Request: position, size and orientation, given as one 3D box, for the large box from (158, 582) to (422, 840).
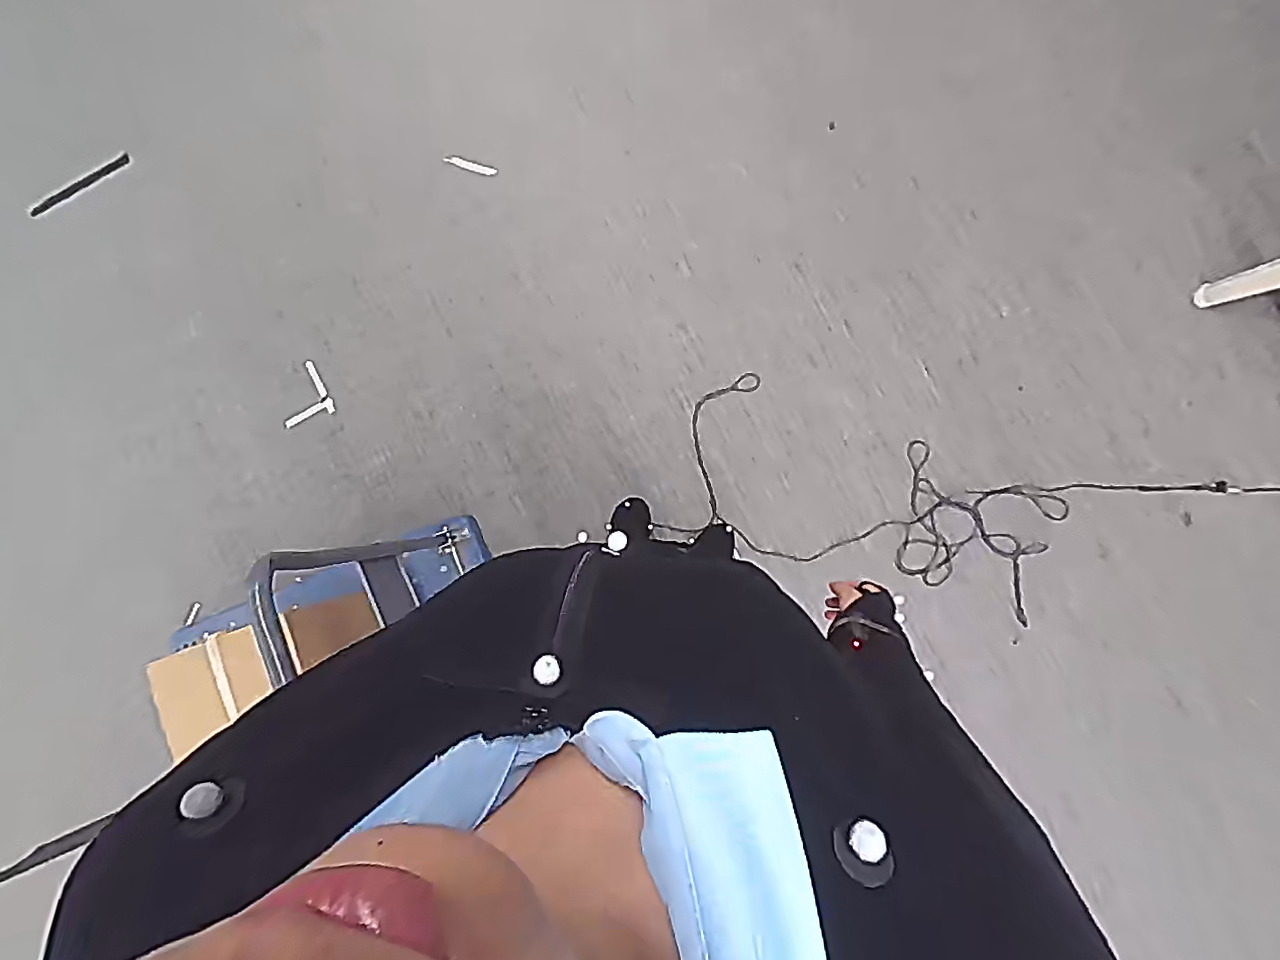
[{"bbox_3d":[-0.767,0.493,1.237,0.320,0.320,0.408,-21,87,4],"label":"large box"}]
